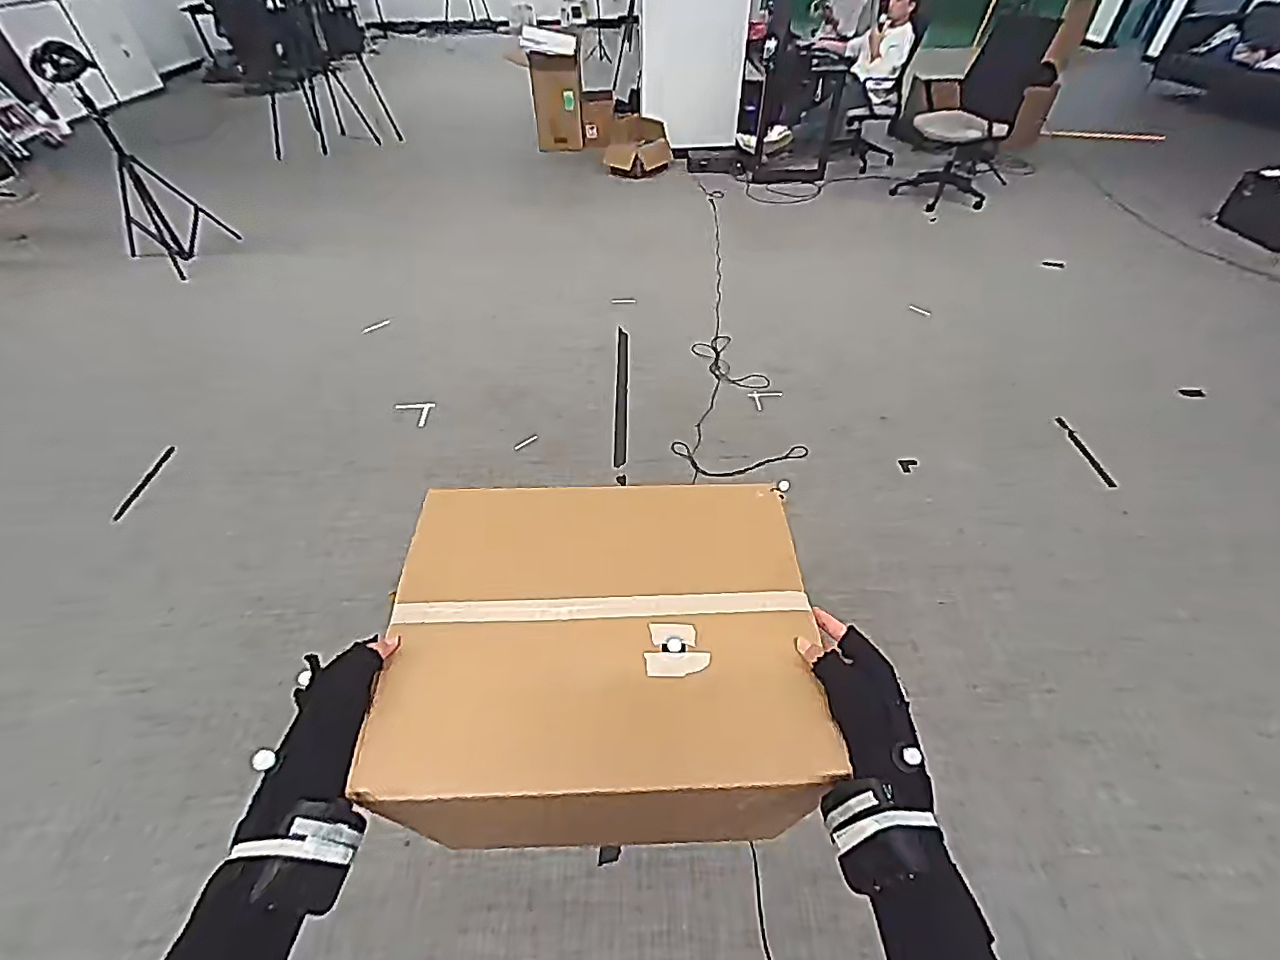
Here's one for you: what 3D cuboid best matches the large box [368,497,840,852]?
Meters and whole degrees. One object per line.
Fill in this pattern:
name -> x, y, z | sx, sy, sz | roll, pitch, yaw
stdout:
large box -> -0.037, 0.237, 0.656 | 0.408, 0.320, 0.320 | -1, 50, -2
